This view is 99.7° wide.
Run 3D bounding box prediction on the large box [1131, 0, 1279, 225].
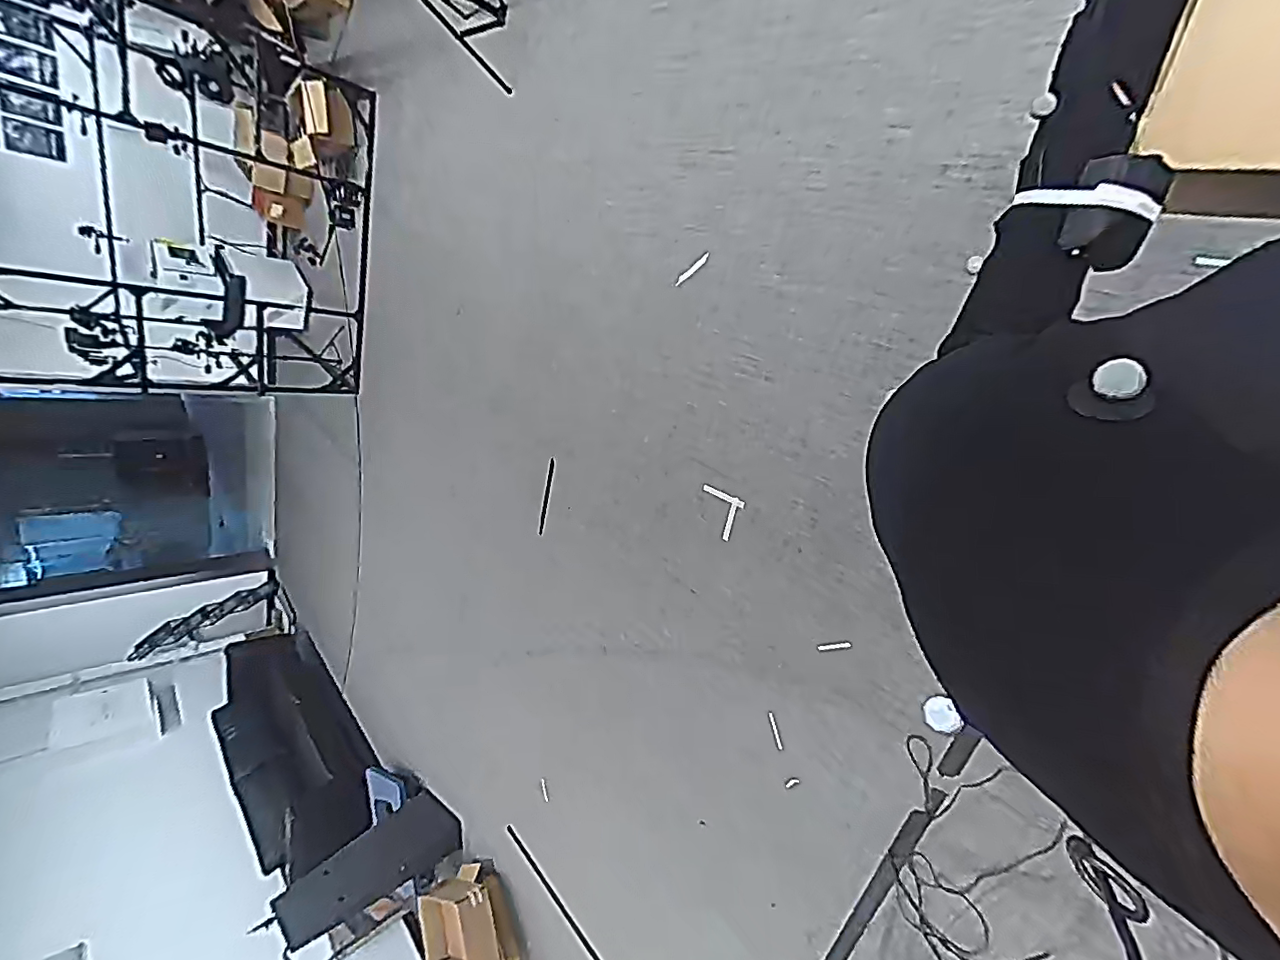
[{"bbox_3d":[0.612,-0.330,0.318,0.408,0.320,0.320,26,121,37],"label":"large box"}]
